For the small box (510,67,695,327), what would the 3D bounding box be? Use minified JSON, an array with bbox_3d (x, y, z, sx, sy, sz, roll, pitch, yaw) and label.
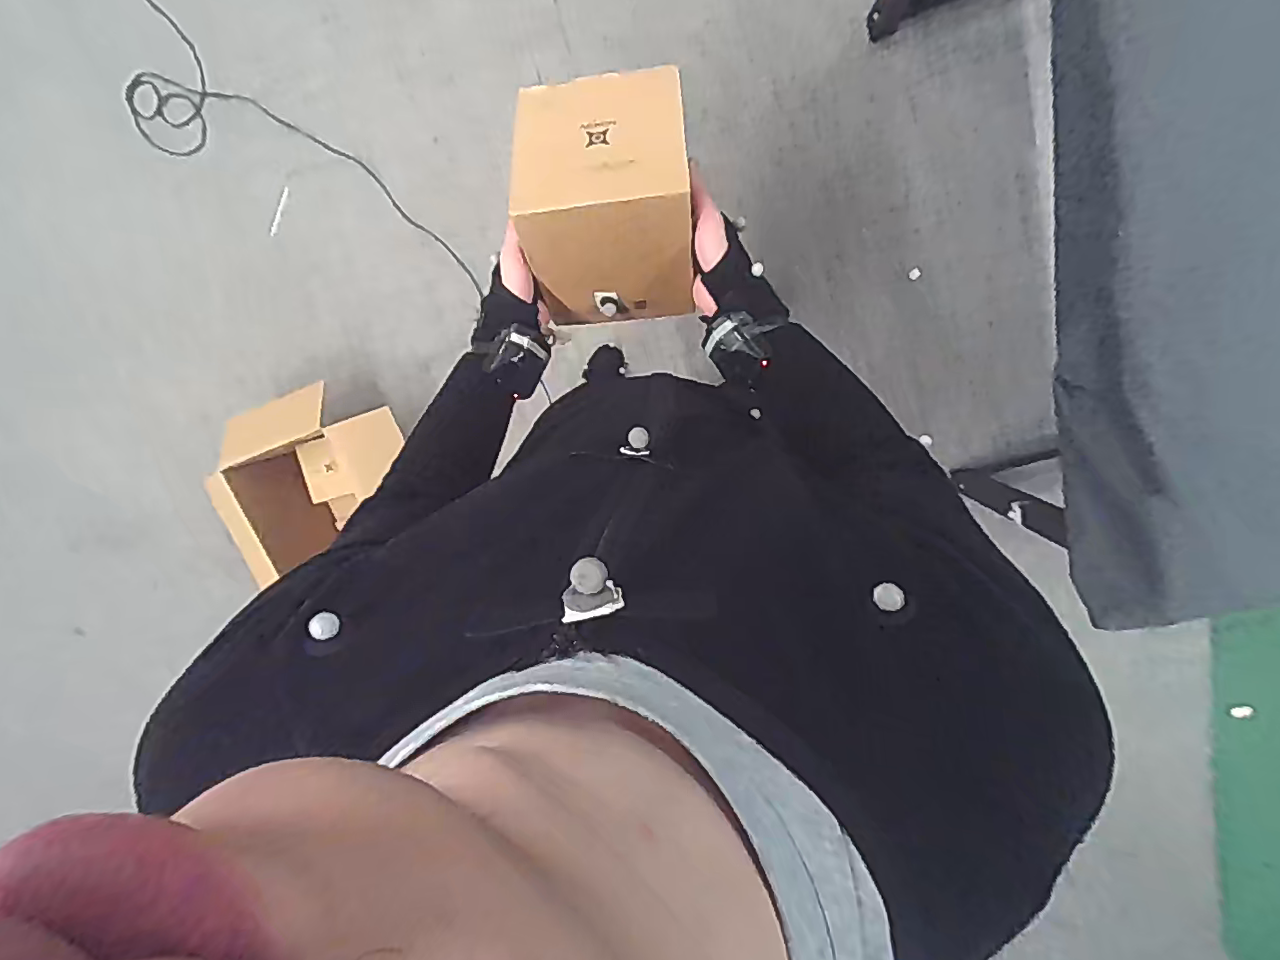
[{"bbox_3d":[-0.029,-0.291,0.580,0.168,0.176,0.179,-4,69,6],"label":"small box"}]
